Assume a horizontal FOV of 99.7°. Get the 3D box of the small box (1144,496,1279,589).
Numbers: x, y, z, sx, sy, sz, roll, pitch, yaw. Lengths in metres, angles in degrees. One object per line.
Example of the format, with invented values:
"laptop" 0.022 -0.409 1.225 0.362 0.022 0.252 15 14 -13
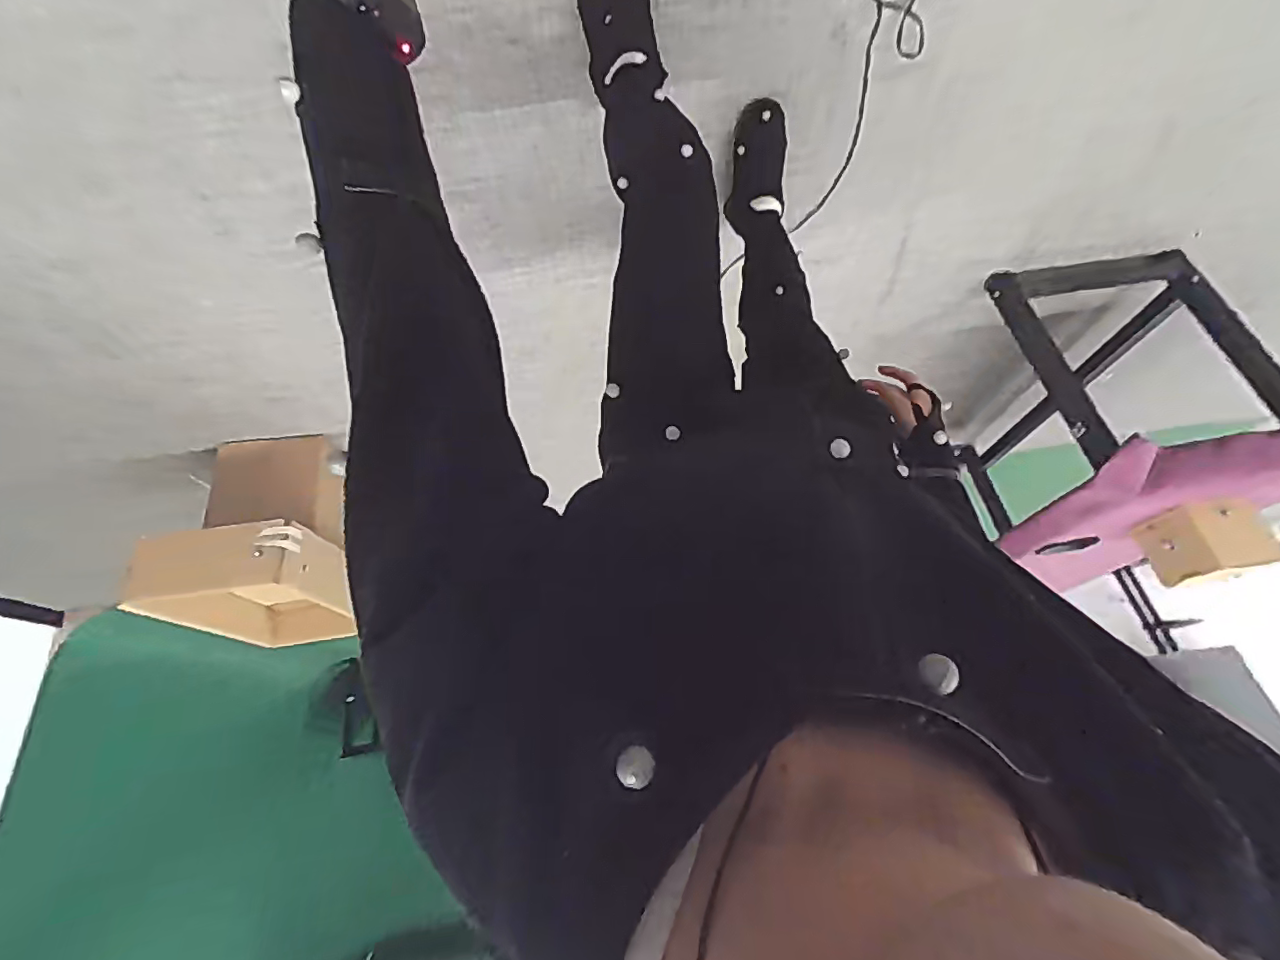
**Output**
"small box" 1.408 0.153 1.320 0.179 0.176 0.168 -7 153 -3
